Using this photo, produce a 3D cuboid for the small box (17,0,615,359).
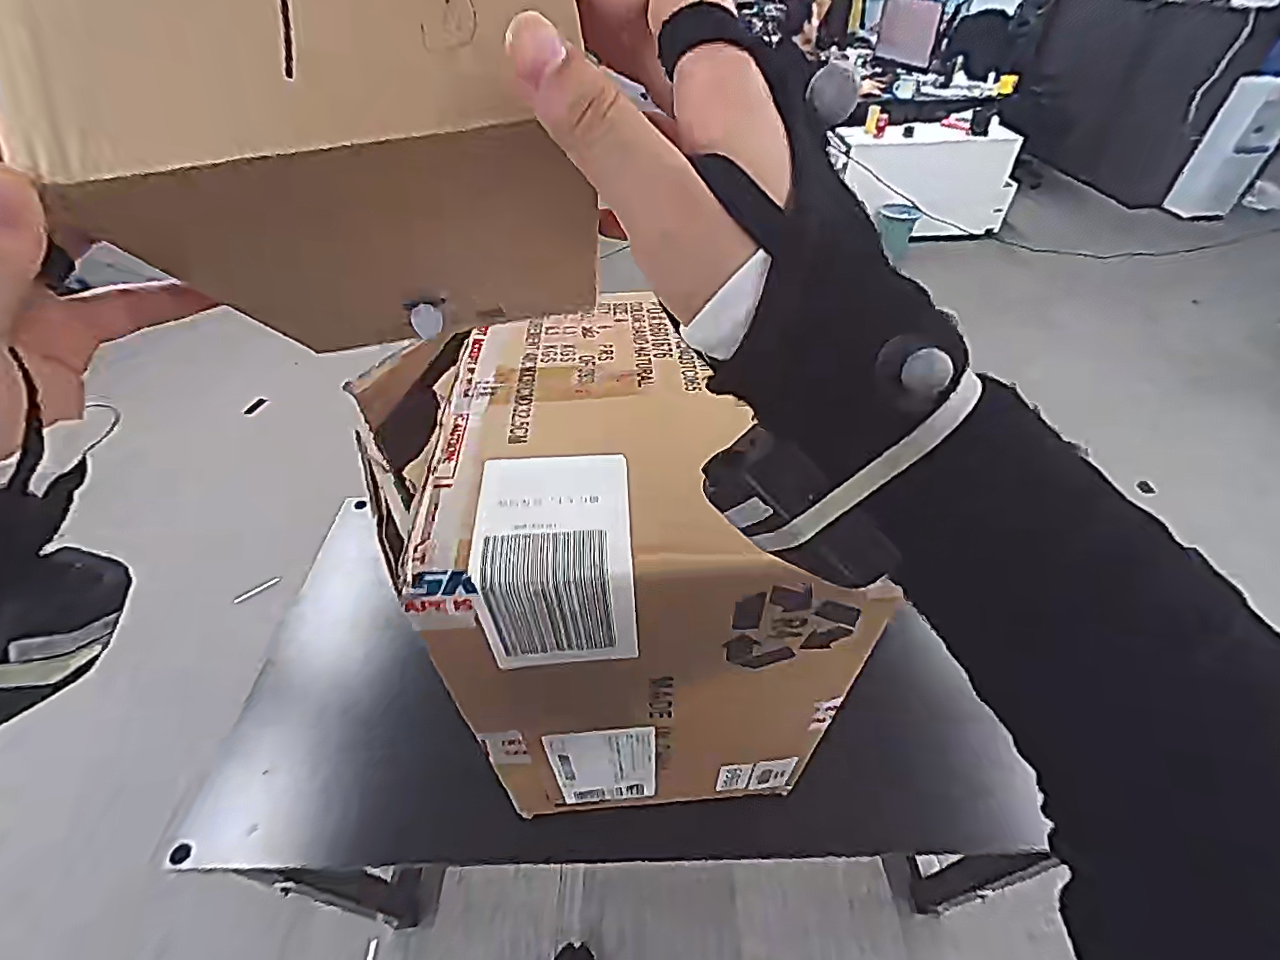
[{"bbox_3d":[-0.109,-0.173,0.246,0.168,0.176,0.179,-11,87,-5],"label":"small box"}]
